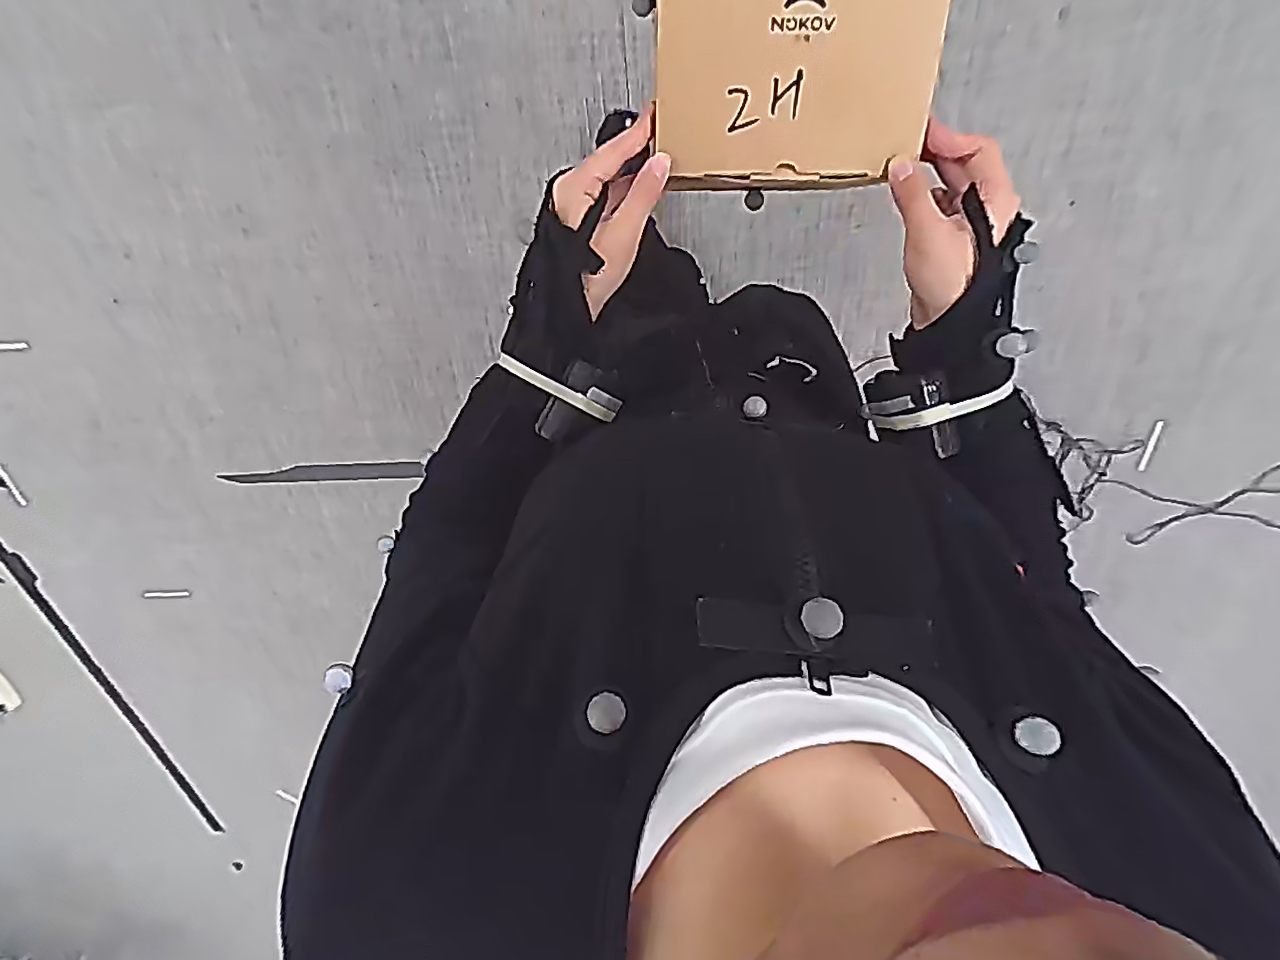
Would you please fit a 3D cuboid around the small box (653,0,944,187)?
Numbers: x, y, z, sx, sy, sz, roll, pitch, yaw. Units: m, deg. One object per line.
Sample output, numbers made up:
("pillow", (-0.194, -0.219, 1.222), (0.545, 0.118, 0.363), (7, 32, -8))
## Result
("small box", (0.094, -0.312, 0.382), (0.168, 0.176, 0.179), (1, 117, 1))
